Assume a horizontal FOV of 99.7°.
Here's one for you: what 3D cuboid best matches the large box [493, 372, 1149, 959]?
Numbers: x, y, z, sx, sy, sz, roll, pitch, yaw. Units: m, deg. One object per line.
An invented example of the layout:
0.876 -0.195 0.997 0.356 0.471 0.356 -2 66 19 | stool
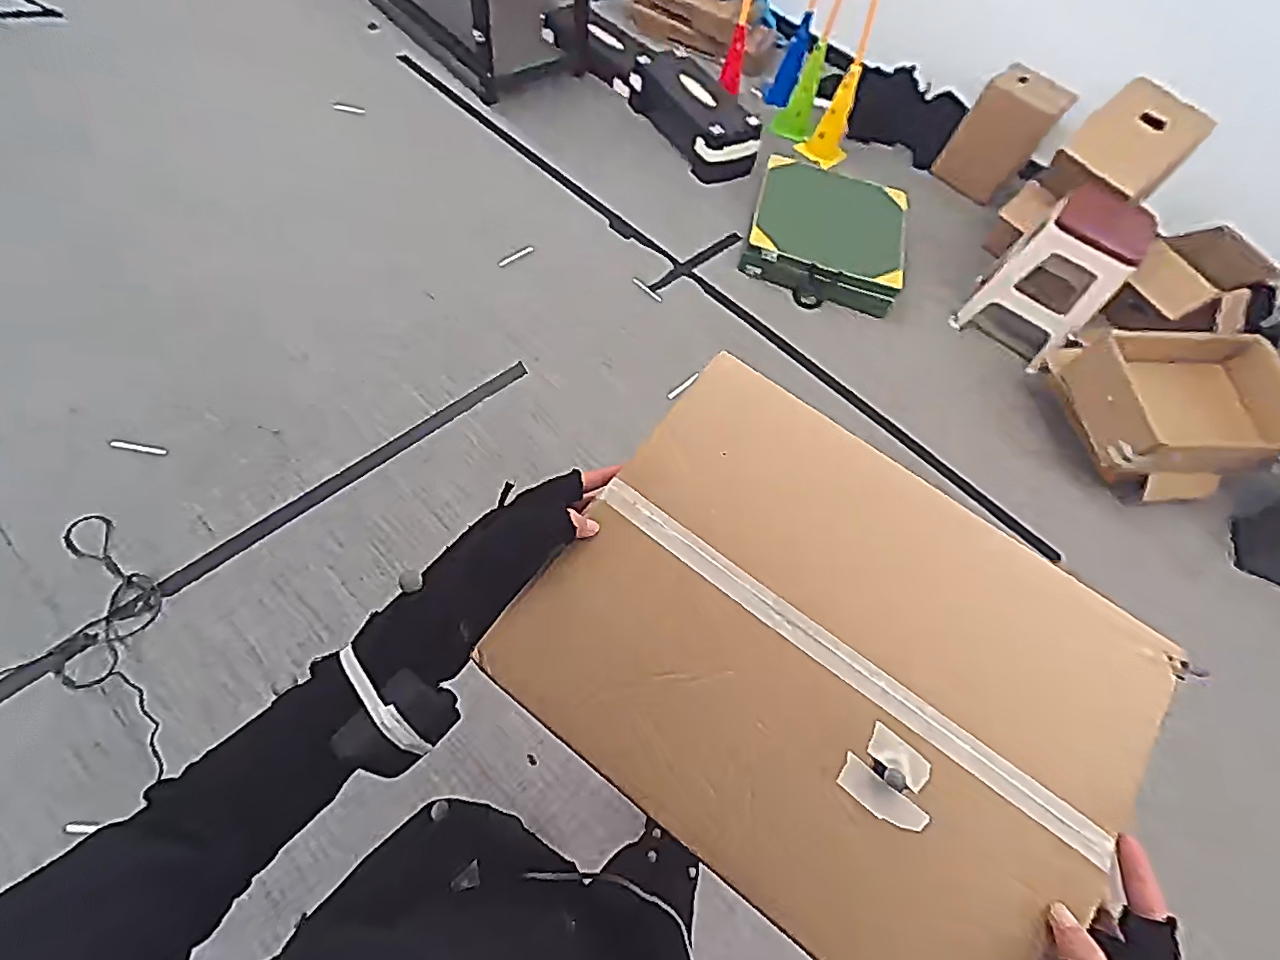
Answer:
0.132 0.175 0.538 0.408 0.320 0.320 36 74 10 | large box
